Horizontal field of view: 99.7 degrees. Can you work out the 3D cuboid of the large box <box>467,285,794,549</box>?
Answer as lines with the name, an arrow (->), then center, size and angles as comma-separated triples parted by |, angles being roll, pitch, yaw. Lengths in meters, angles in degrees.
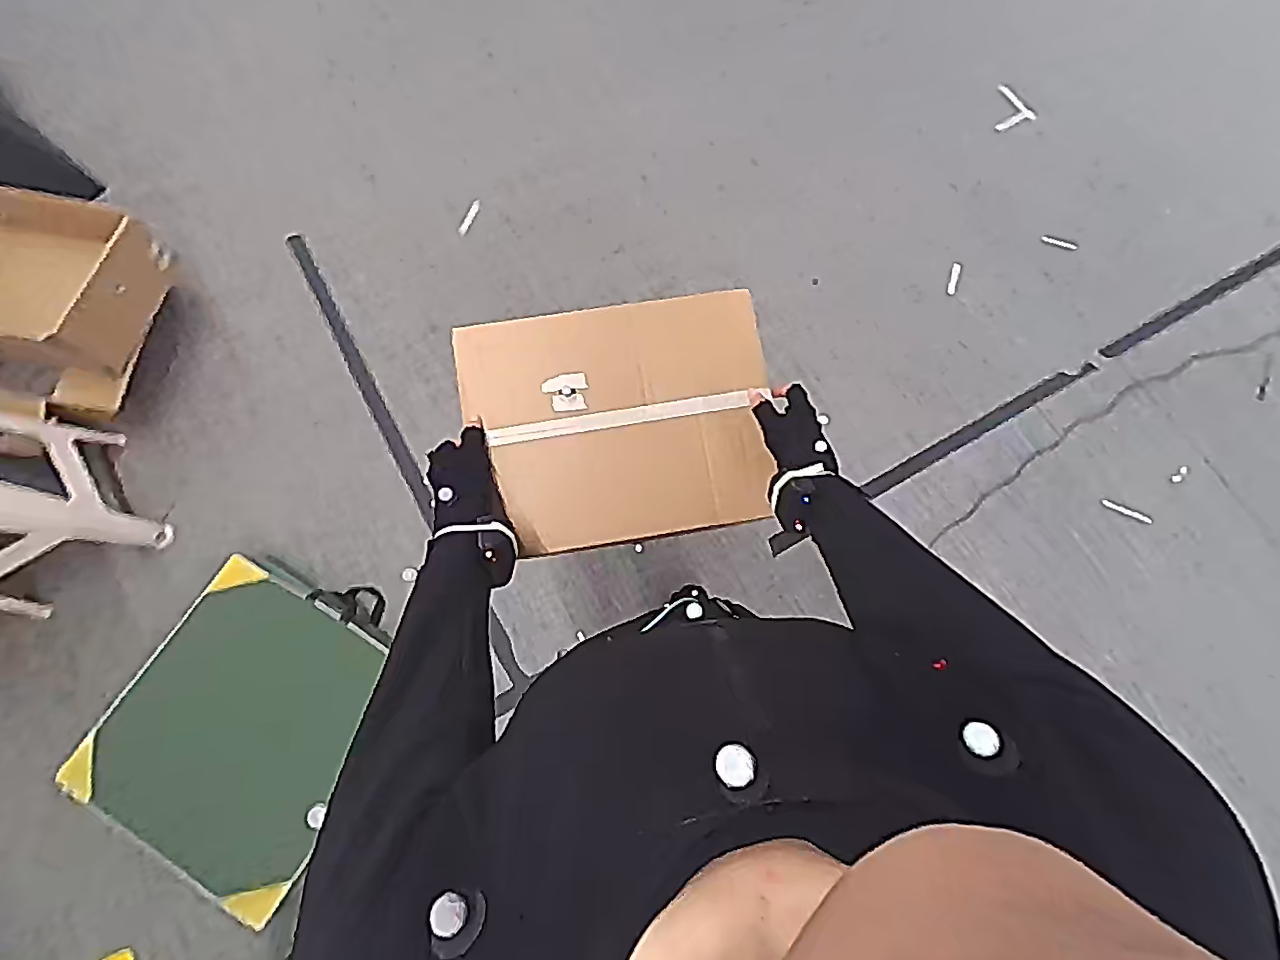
large box -> -0.019, -0.073, 0.863 | 0.408, 0.320, 0.320 | -8, 82, -3
